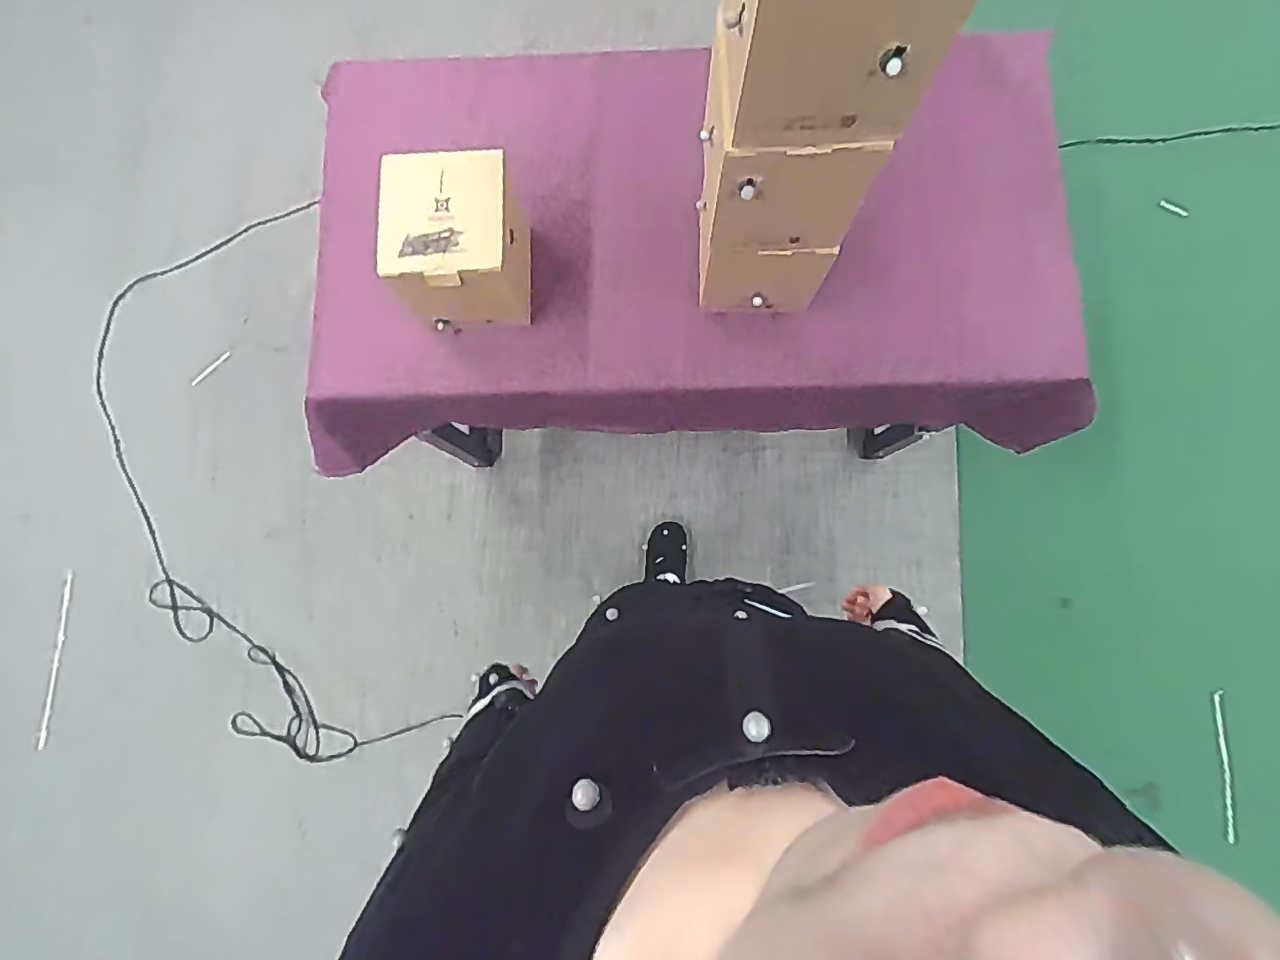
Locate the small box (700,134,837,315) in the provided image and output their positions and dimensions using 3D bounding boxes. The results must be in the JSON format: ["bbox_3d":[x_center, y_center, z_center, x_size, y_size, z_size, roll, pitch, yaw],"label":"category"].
[{"bbox_3d":[0.174,-0.359,0.780,0.168,0.176,0.179,1,81,3],"label":"small box"}]

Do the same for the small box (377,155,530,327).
[{"bbox_3d":[-0.259,-0.334,0.790,0.168,0.176,0.179,-2,80,1],"label":"small box"}]

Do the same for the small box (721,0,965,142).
[{"bbox_3d":[0.162,-0.418,0.458,0.168,0.176,0.179,-2,80,1],"label":"small box"}]
